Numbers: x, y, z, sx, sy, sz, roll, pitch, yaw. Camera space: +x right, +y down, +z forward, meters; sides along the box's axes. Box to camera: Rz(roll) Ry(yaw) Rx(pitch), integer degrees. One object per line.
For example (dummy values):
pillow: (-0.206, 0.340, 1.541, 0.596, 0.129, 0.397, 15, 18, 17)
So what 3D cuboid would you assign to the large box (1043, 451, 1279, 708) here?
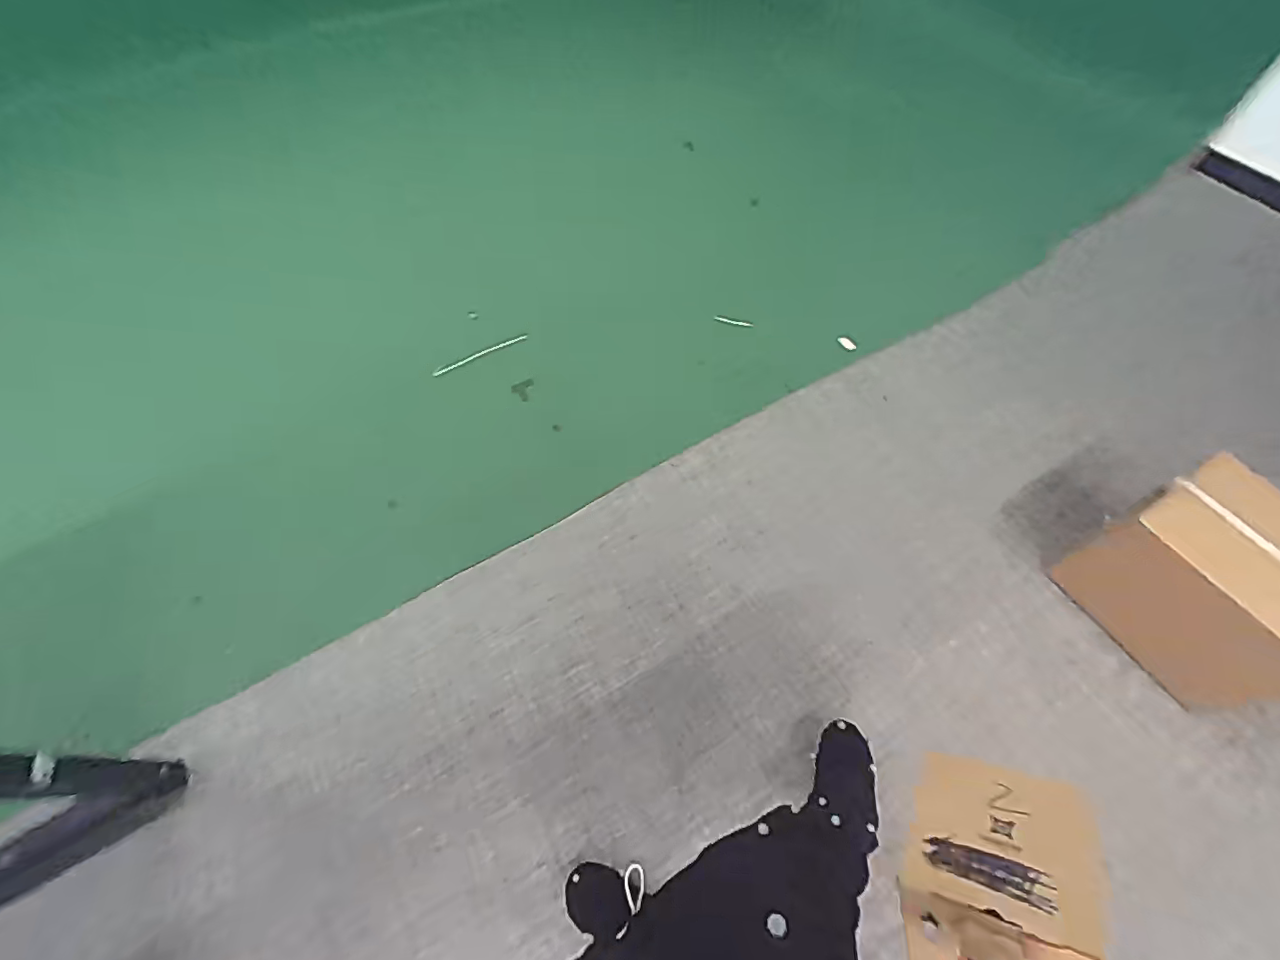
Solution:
large box: (1.234, 0.220, 1.183, 0.320, 0.320, 0.408, -30, 65, -15)
